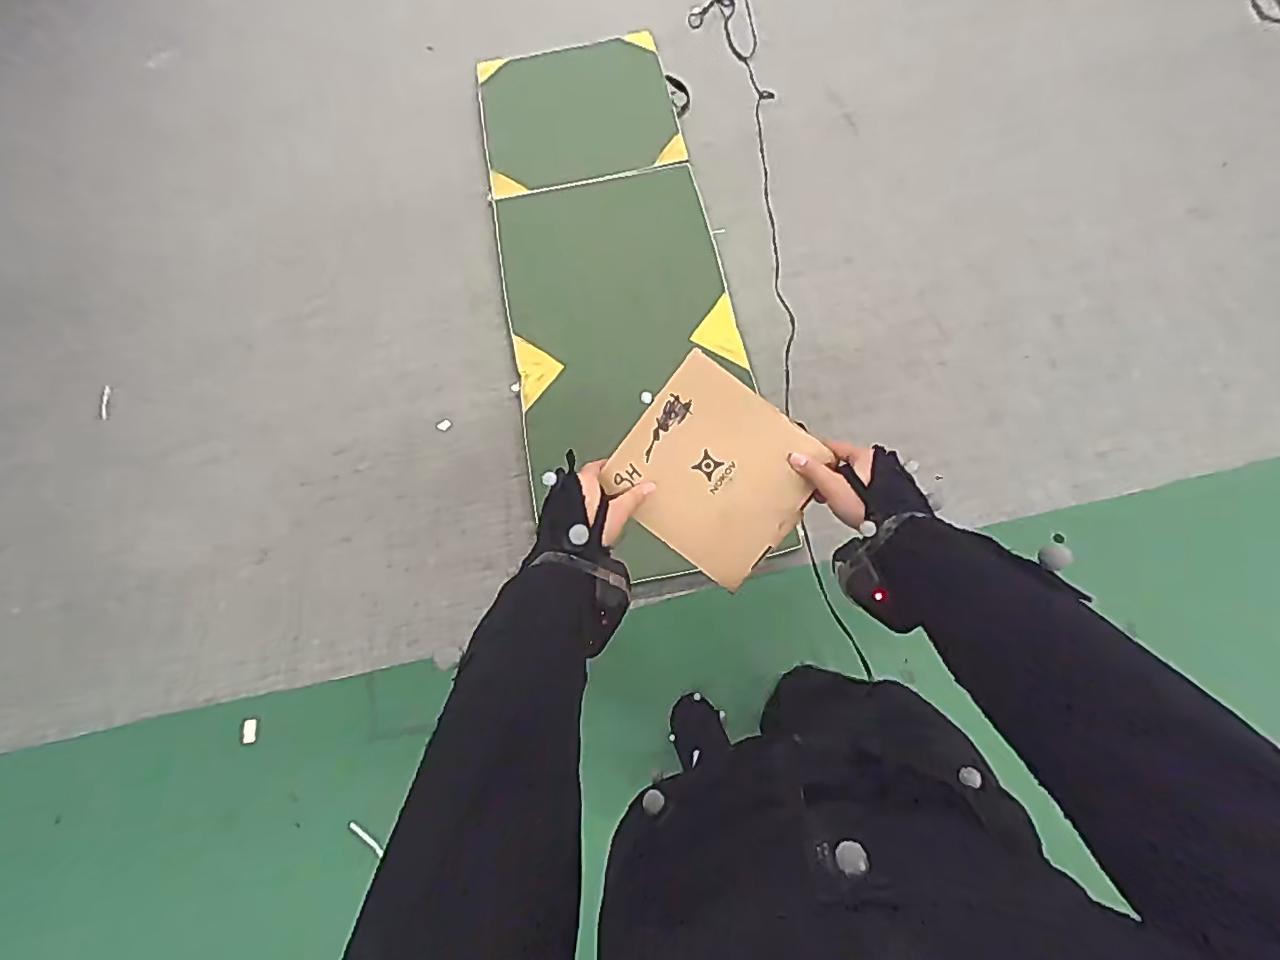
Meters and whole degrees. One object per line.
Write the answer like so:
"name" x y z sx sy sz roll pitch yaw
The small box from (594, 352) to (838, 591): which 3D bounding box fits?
"small box" 0.076 -0.012 0.594 0.179 0.176 0.168 39 94 1
